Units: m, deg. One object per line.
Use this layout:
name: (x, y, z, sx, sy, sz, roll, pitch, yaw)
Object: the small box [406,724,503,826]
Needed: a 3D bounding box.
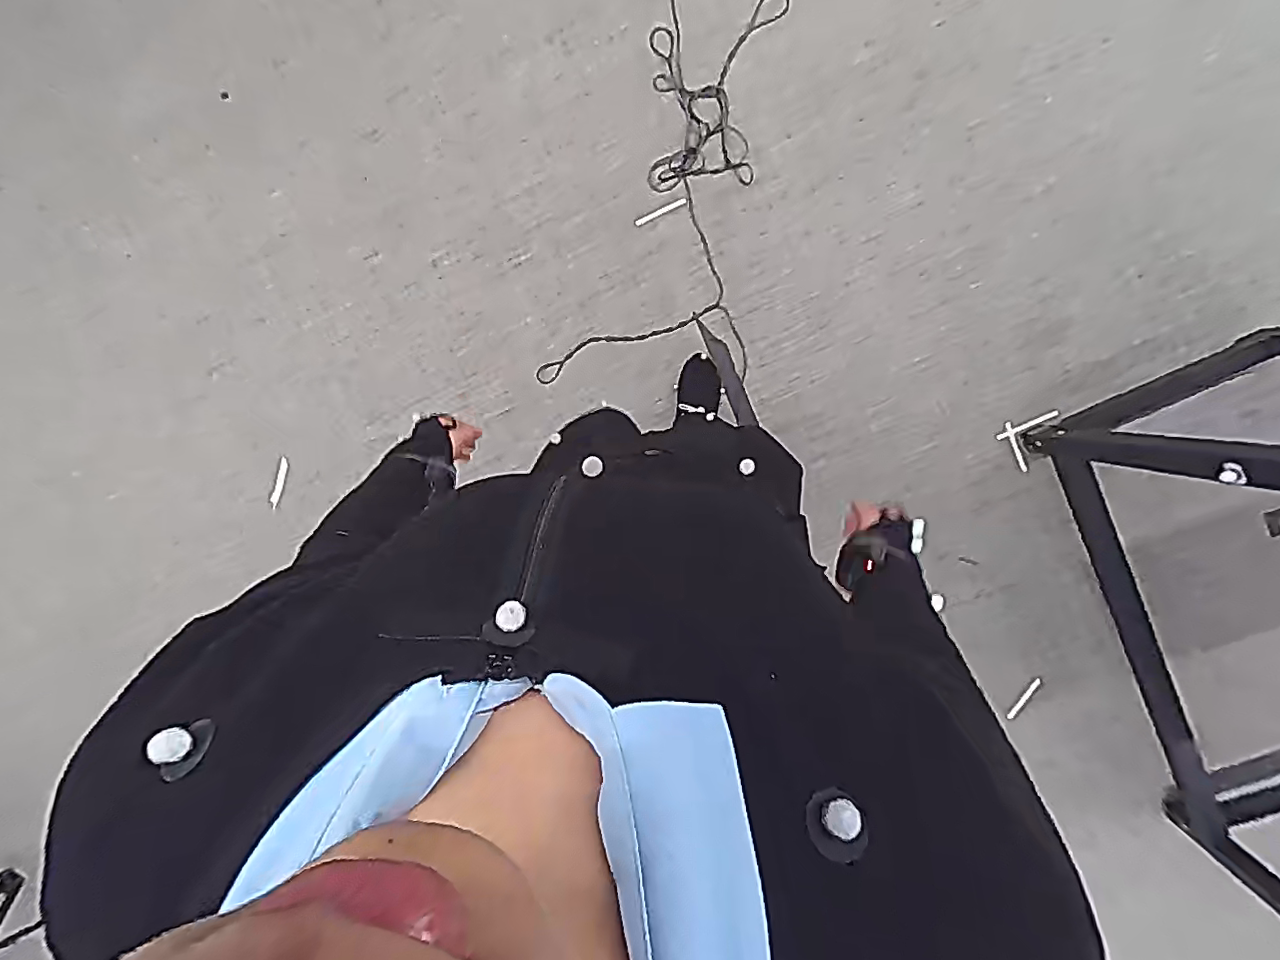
small box: (-0.518, 0.829, 1.533, 0.179, 0.176, 0.168, -20, 99, 6)
